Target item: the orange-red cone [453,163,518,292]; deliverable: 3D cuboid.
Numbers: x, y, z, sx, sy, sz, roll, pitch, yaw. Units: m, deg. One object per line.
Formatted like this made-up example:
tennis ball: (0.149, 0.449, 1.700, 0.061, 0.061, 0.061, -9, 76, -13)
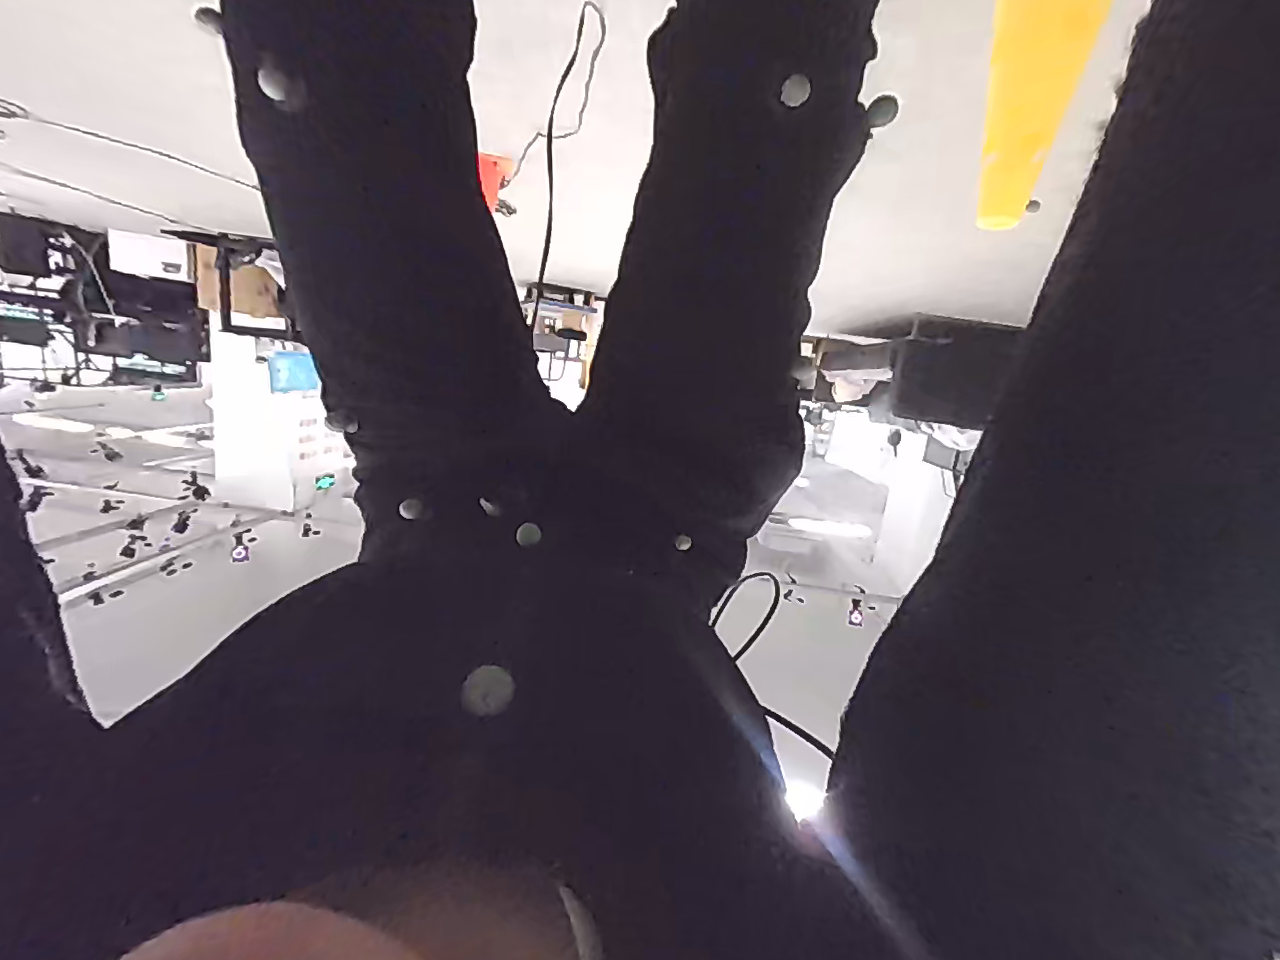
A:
orange-red cone: (-0.525, -0.806, 1.779, 0.199, 0.360, 0.198, 5, -170, -19)
